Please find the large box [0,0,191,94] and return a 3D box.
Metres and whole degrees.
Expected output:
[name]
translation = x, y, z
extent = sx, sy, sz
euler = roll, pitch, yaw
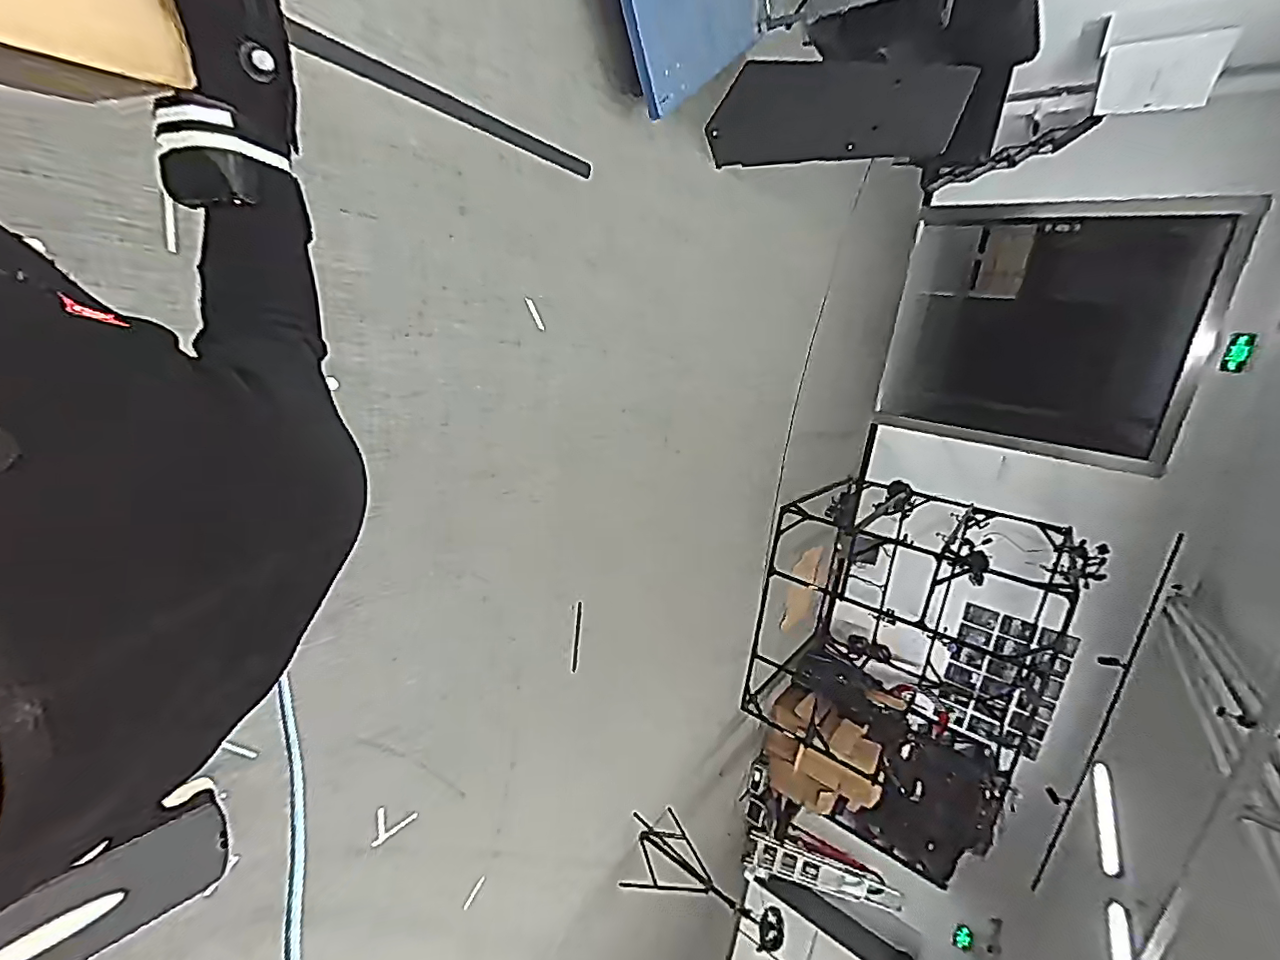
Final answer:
[large box]
translation = -0.552, -0.435, 0.270
extent = 0.408, 0.320, 0.320
euler = -22, 128, -50
